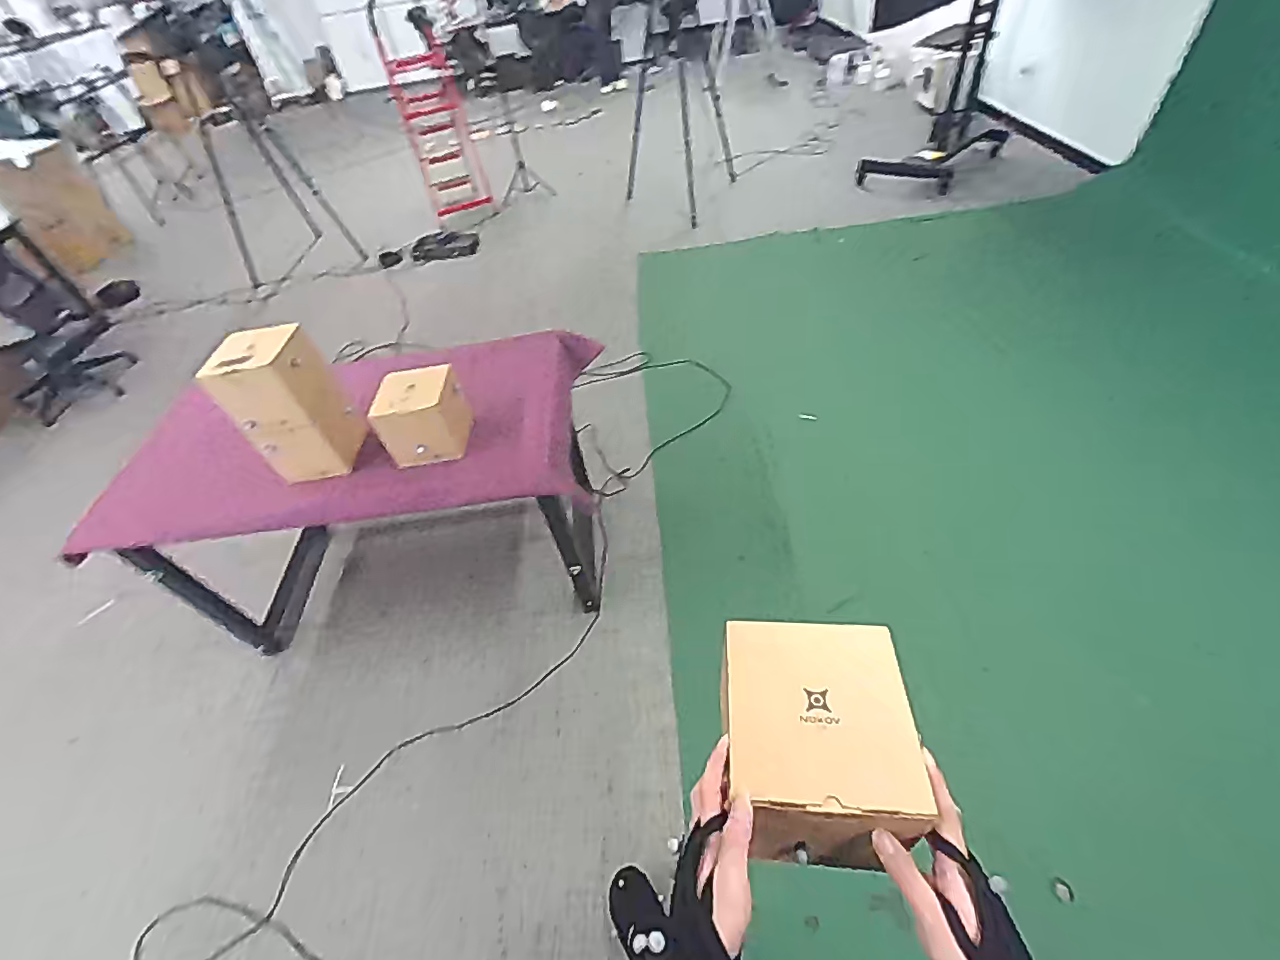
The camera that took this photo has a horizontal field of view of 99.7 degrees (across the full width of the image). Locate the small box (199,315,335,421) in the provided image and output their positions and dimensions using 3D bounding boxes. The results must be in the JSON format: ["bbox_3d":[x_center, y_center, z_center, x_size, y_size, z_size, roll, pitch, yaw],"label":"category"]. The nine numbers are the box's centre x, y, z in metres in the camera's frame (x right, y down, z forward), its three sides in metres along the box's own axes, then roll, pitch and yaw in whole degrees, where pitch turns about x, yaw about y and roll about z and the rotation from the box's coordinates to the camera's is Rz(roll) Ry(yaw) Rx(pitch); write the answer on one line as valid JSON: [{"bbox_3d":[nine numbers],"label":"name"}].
[{"bbox_3d":[-0.839,-0.249,1.240,0.168,0.176,0.179,-8,46,2],"label":"small box"}]

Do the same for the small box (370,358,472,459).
[{"bbox_3d":[-0.532,-0.177,1.344,0.168,0.176,0.179,-8,47,3],"label":"small box"}]
